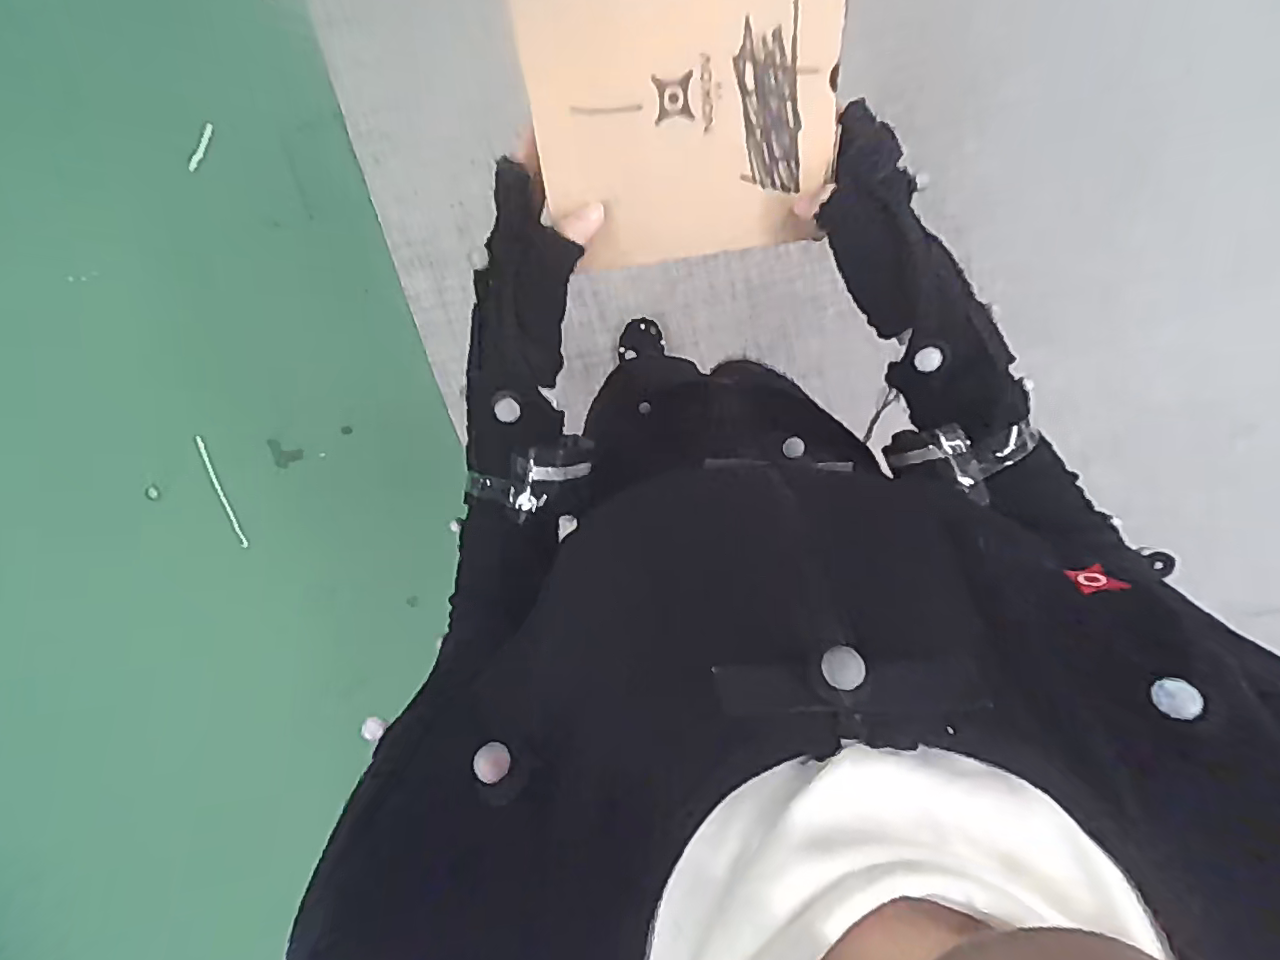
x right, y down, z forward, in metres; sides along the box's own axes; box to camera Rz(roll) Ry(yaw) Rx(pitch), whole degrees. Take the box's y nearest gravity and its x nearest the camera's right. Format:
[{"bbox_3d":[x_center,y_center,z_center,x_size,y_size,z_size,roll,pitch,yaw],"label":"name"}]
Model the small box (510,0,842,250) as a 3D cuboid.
[{"bbox_3d":[0.016,-0.270,0.363,0.179,0.176,0.168,-8,126,0],"label":"small box"}]
